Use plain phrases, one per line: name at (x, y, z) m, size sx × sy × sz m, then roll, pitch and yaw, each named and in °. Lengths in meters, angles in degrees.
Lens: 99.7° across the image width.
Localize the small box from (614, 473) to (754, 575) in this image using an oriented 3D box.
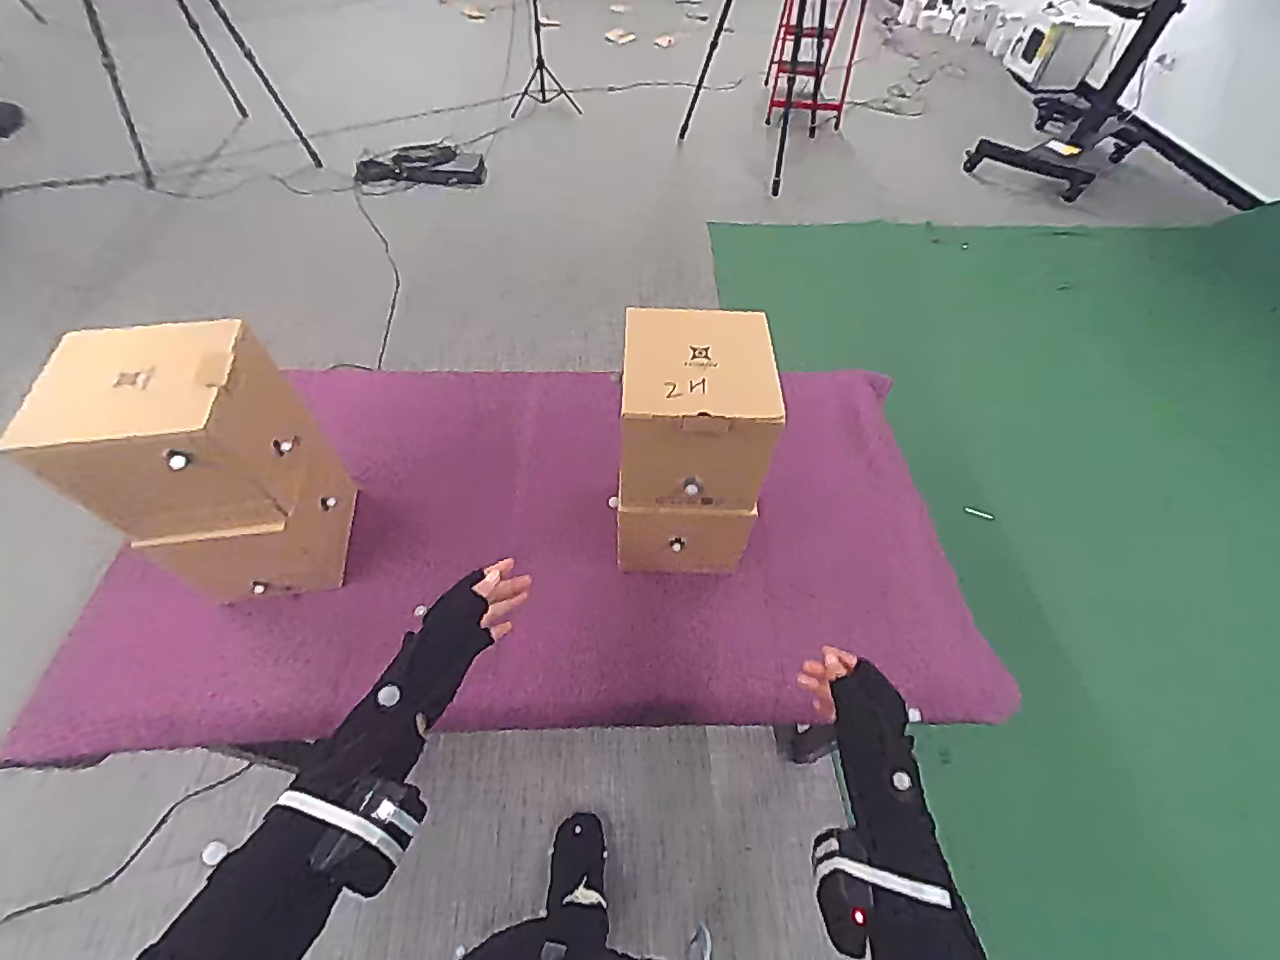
small box at (0.057, 0.023, 0.776) m, size 0.179 × 0.176 × 0.168 m, roll 4°, pitch 52°, yaw 1°

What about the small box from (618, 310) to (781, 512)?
small box at (0.060, -0.080, 0.650) m, size 0.168 × 0.176 × 0.179 m, roll 1°, pitch 54°, yaw 0°

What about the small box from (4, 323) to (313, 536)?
small box at (-0.509, -0.051, 0.610) m, size 0.179 × 0.176 × 0.168 m, roll -7°, pitch 55°, yaw -8°
